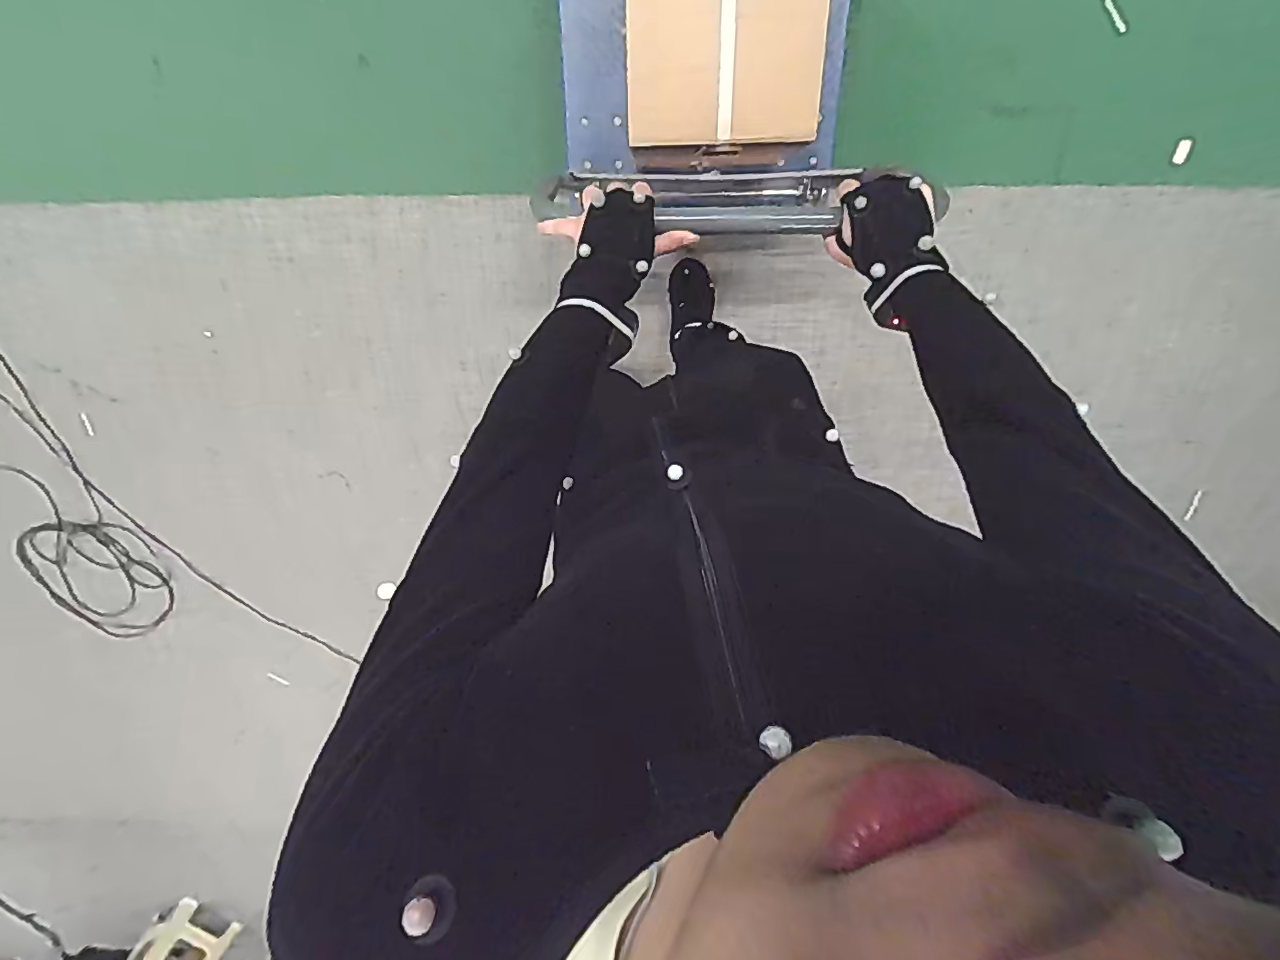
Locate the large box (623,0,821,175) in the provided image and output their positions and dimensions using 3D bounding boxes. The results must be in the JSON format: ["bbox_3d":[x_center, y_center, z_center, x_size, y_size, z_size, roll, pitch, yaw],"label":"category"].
[{"bbox_3d":[0.134,-0.800,0.975,0.320,0.320,0.408,0,113,2],"label":"large box"}]
